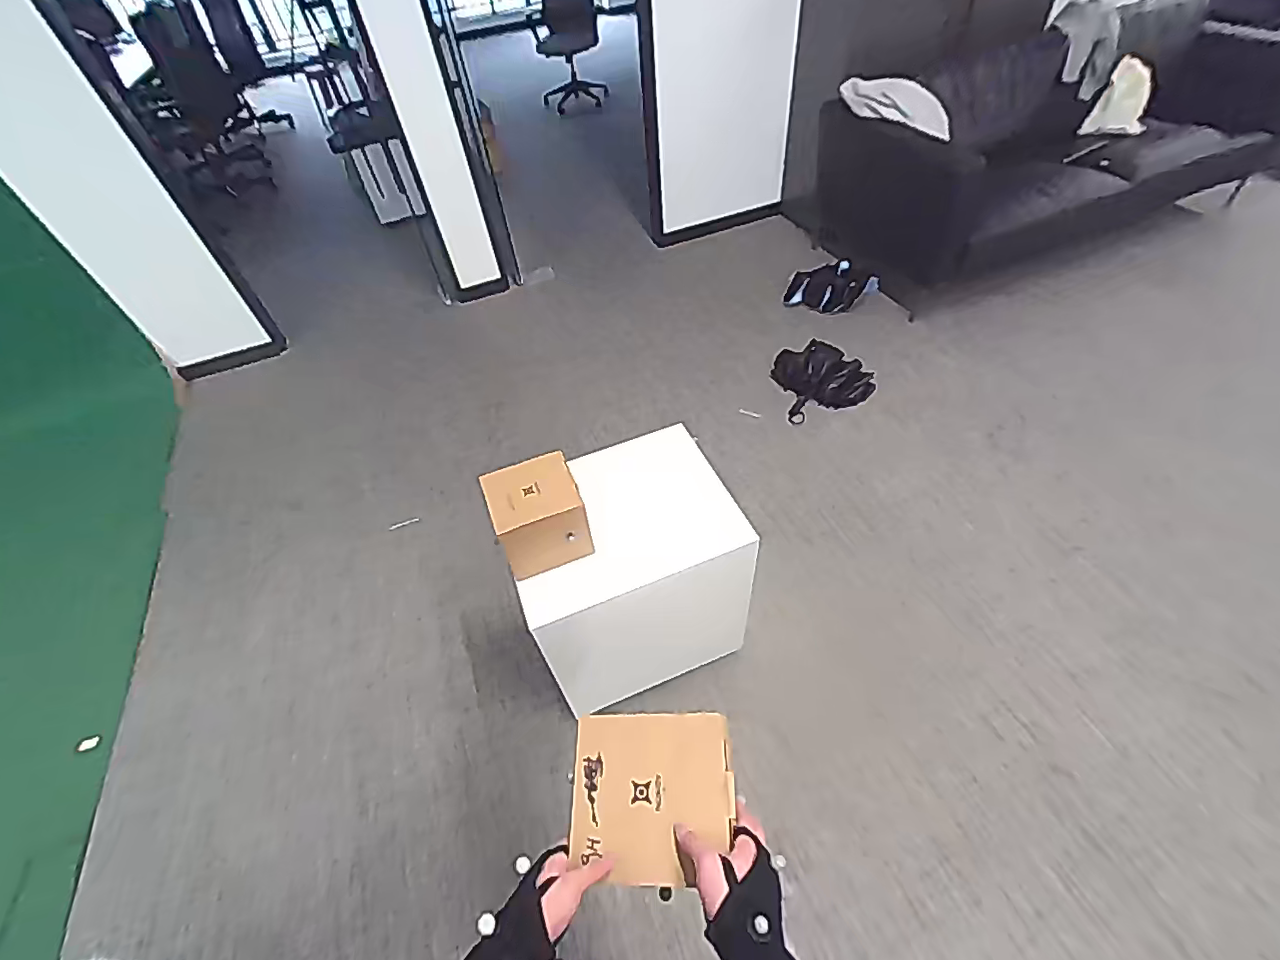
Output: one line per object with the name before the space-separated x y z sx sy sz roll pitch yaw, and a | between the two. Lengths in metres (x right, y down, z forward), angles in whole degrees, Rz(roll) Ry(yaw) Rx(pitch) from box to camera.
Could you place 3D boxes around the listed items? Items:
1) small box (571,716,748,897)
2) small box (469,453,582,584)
small box | 0.026 0.383 0.639 0.179 0.176 0.168 -3 54 5
small box | -0.225 0.078 1.095 0.179 0.176 0.168 -20 49 -15
